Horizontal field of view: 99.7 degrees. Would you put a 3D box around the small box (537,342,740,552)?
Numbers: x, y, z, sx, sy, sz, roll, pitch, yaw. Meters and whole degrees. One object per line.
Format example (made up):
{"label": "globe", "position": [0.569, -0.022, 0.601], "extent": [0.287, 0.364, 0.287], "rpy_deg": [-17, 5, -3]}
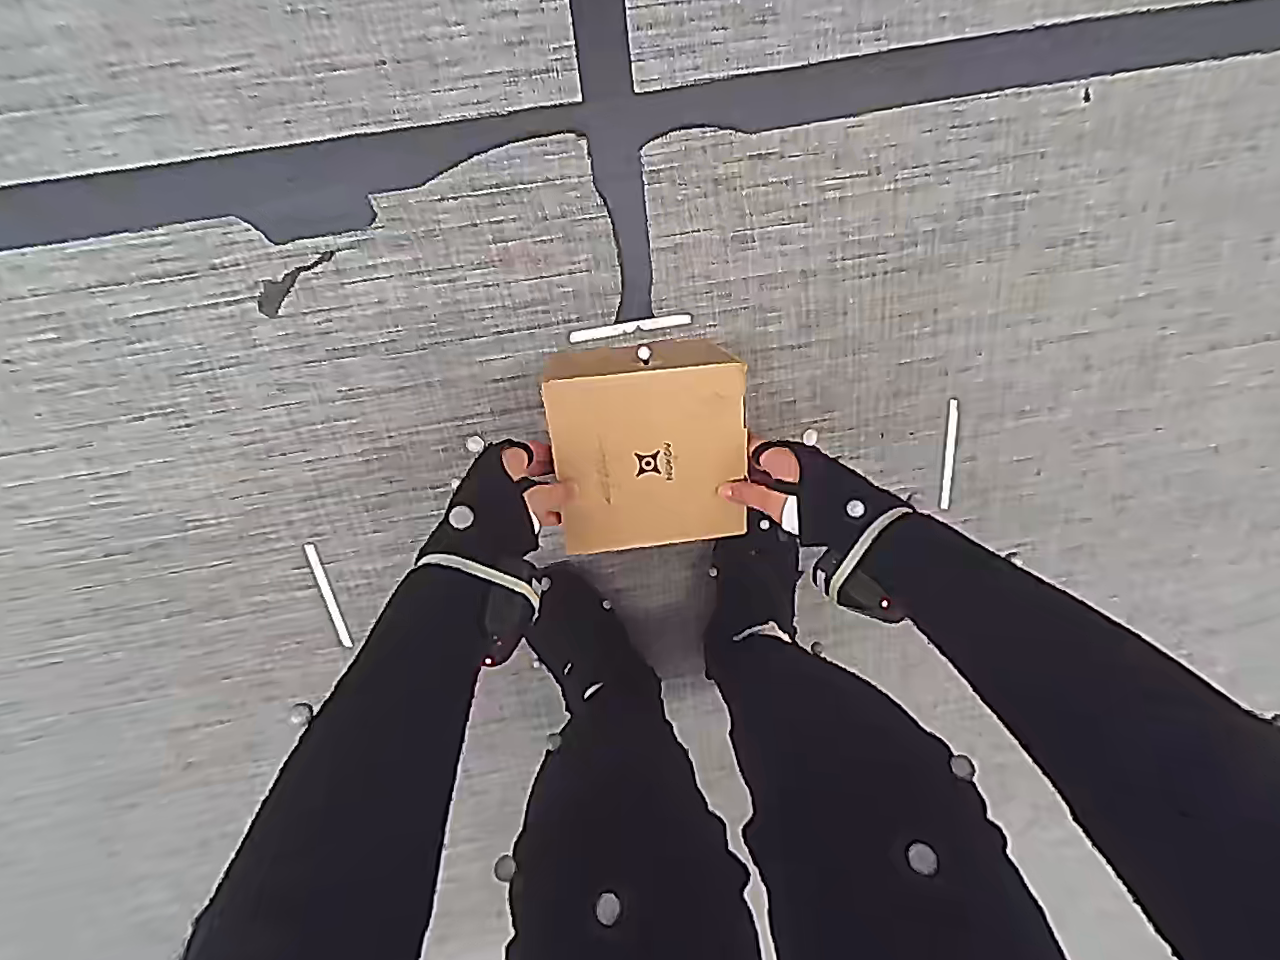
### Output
{"label": "small box", "position": [-0.004, -0.045, 0.561], "extent": [0.179, 0.176, 0.168], "rpy_deg": [-7, 111, -3]}
